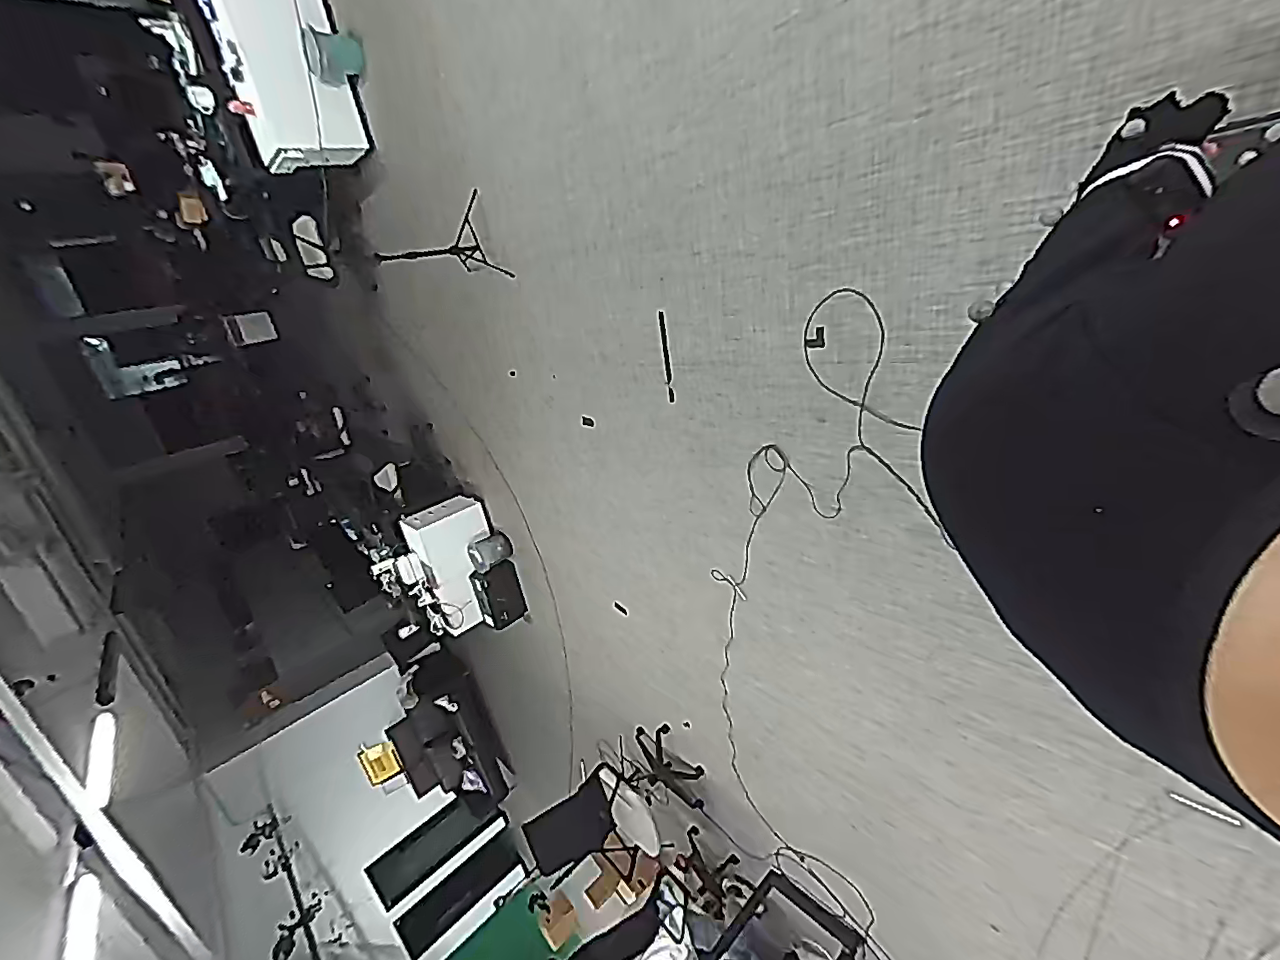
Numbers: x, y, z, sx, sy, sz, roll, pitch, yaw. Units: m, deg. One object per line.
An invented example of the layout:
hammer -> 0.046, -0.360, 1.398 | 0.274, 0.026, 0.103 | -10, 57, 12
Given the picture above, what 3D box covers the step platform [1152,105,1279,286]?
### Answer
step platform -> 1.266, -0.494, 0.841 | 0.684, 0.204, 0.286 | 10, 120, 46
